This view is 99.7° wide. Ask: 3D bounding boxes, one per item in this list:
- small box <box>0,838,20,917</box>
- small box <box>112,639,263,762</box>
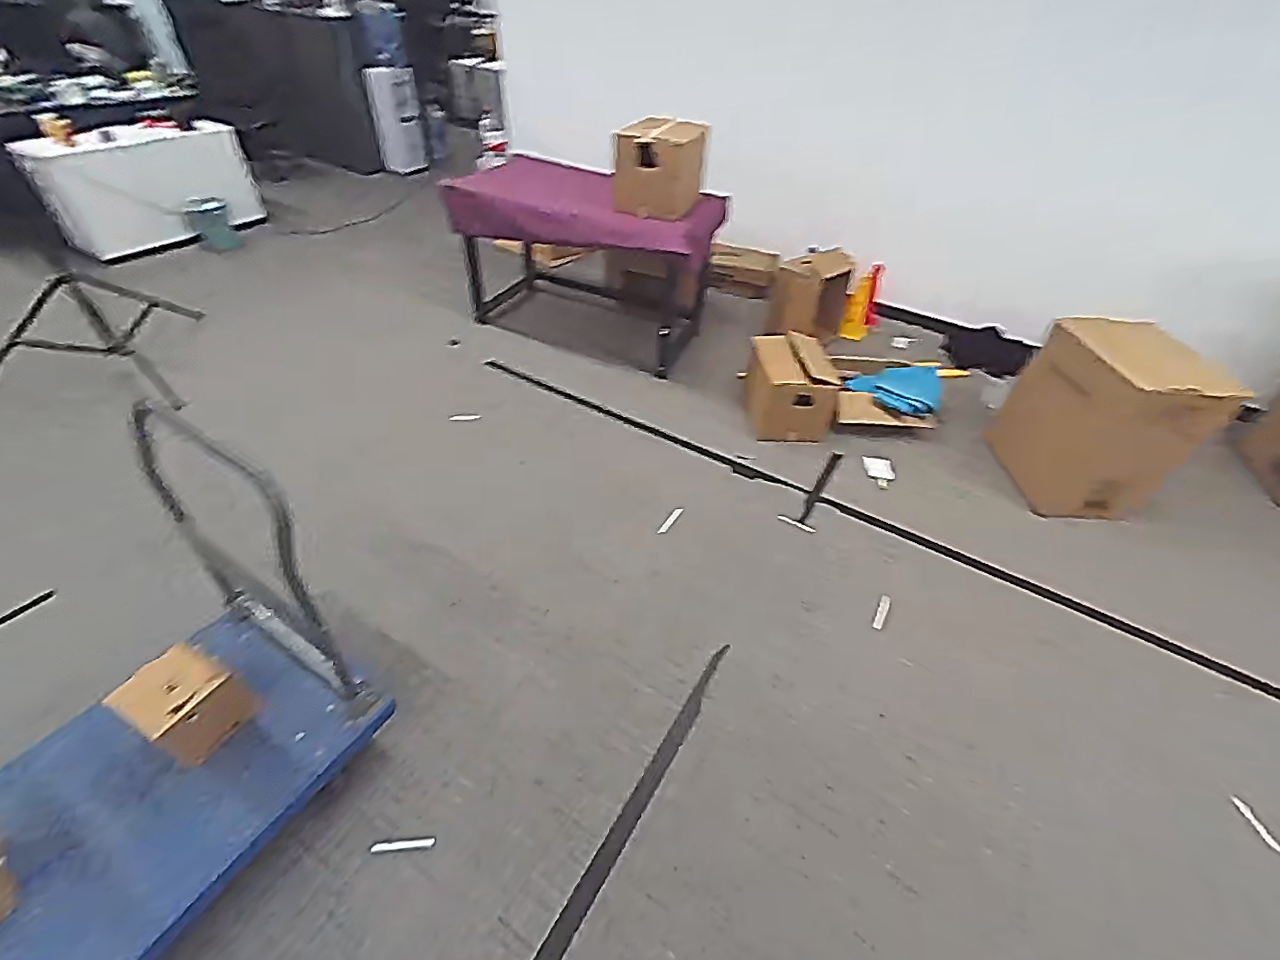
[{"bbox_3d":[-1.270,0.736,0.946,0.168,0.176,0.179,33,48,27],"label":"small box"},{"bbox_3d":[-1.015,0.504,1.228,0.179,0.176,0.168,22,45,18],"label":"small box"}]
